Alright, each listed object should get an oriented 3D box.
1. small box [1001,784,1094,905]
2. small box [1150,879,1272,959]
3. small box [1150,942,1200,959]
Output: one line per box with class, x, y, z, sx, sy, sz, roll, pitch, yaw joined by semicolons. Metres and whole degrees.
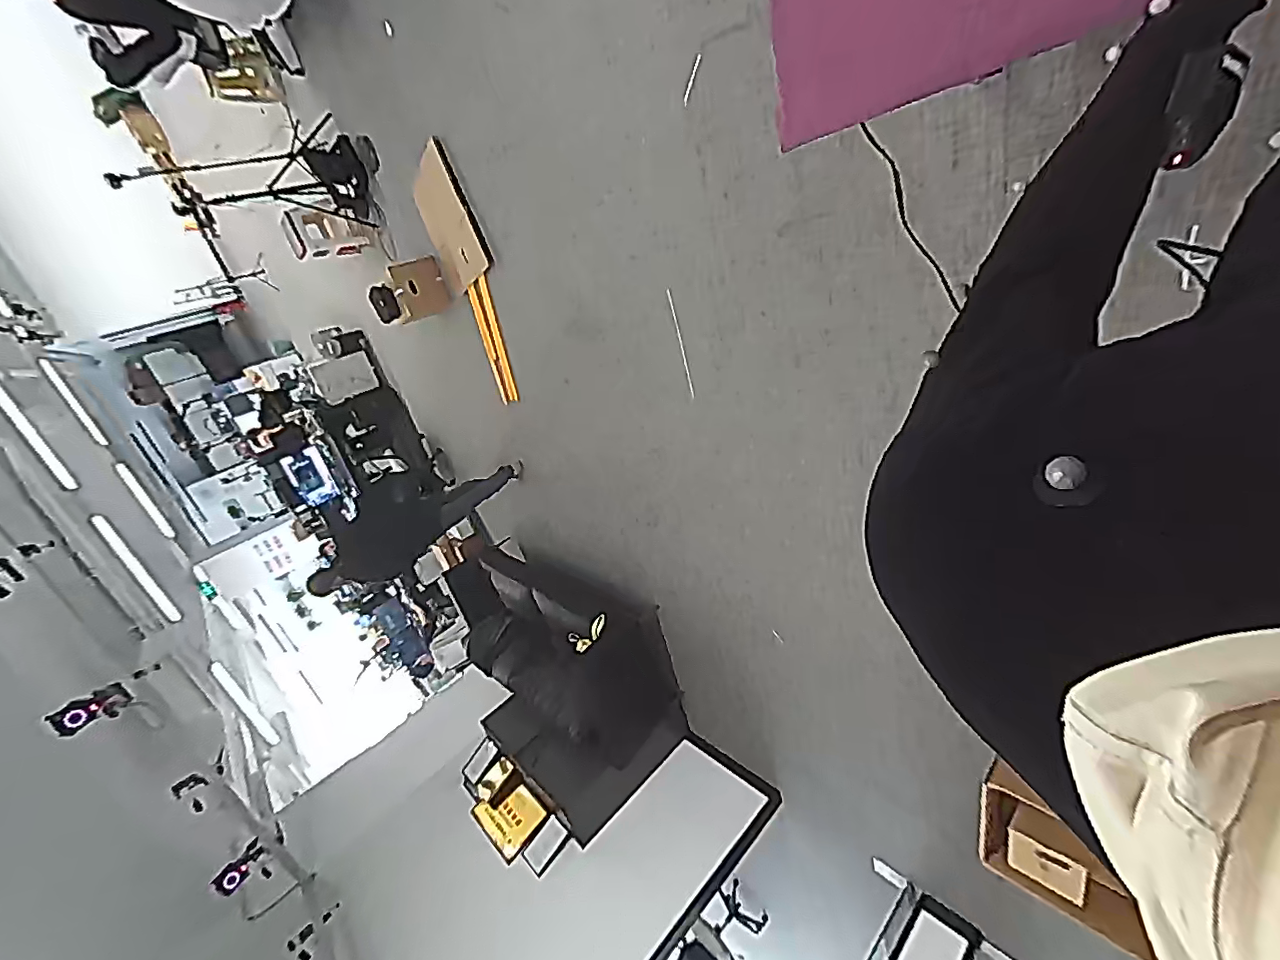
small box;1.091;0.966;1.449;0.168;0.176;0.179;13;129;47
small box;1.327;1.097;1.260;0.168;0.176;0.179;15;129;45
small box;1.211;1.172;1.171;0.168;0.176;0.179;17;130;43
